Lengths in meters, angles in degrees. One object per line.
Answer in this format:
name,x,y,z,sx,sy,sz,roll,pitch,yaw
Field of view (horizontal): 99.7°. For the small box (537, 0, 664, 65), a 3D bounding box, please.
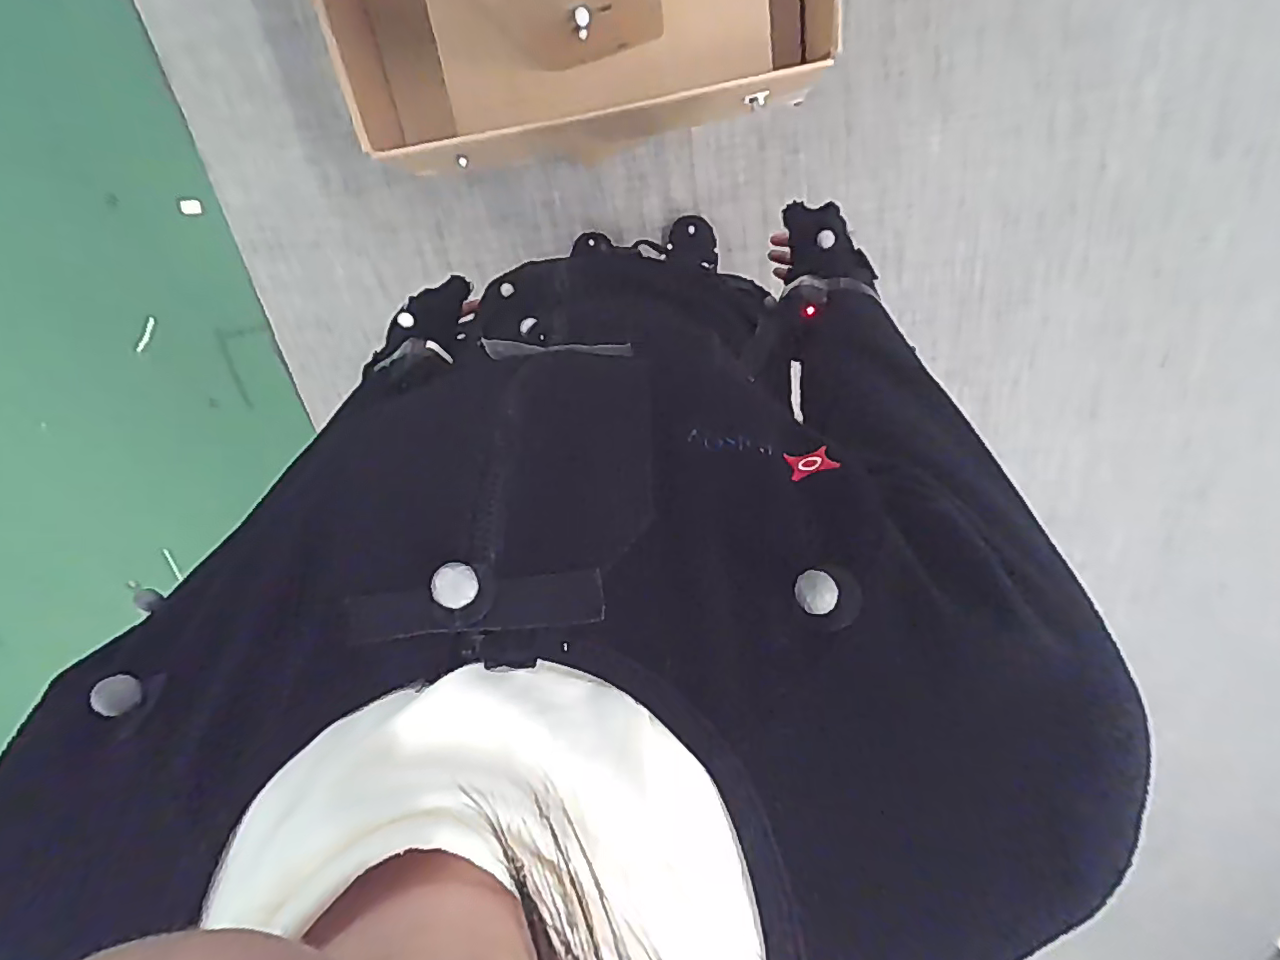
small box,-0.070,-0.651,0.658,0.168,0.176,0.179,-10,114,11
